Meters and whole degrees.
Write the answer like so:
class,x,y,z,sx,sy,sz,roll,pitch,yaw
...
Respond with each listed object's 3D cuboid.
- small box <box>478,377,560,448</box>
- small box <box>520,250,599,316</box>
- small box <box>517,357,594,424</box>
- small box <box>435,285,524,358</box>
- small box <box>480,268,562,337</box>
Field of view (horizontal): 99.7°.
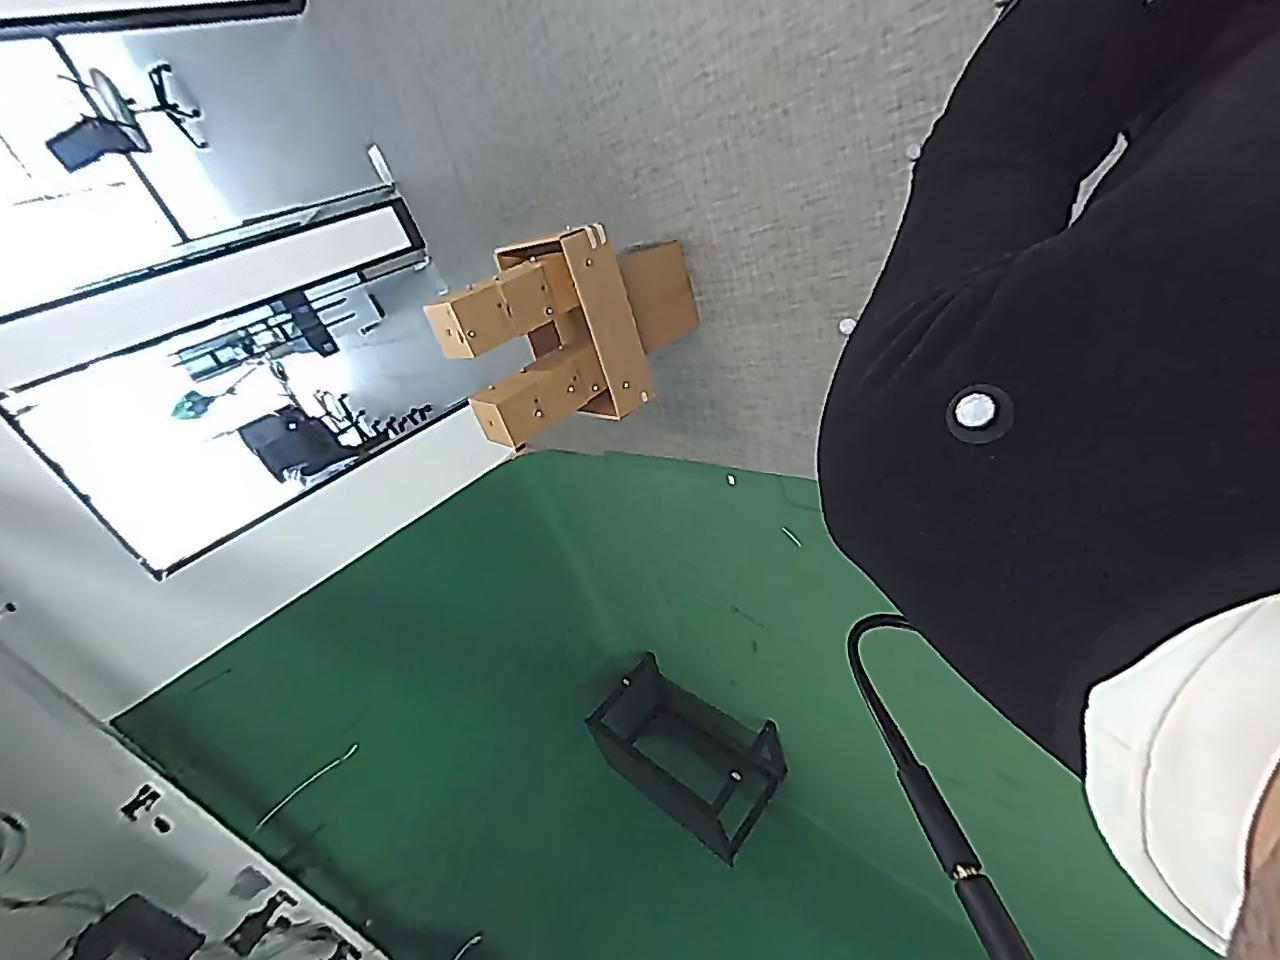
class,x,y,z,sx,sy,sz,roll,pitch,yaw
small box,-0.398,-0.230,1.793,0.179,0.176,0.168,17,136,43
small box,-0.266,-0.659,1.817,0.179,0.176,0.168,15,133,43
small box,-0.289,-0.316,1.879,0.179,0.176,0.168,17,136,42
small box,-0.484,-0.483,1.645,0.179,0.176,0.168,14,132,45
small box,-0.371,-0.568,1.727,0.179,0.176,0.168,17,134,43
